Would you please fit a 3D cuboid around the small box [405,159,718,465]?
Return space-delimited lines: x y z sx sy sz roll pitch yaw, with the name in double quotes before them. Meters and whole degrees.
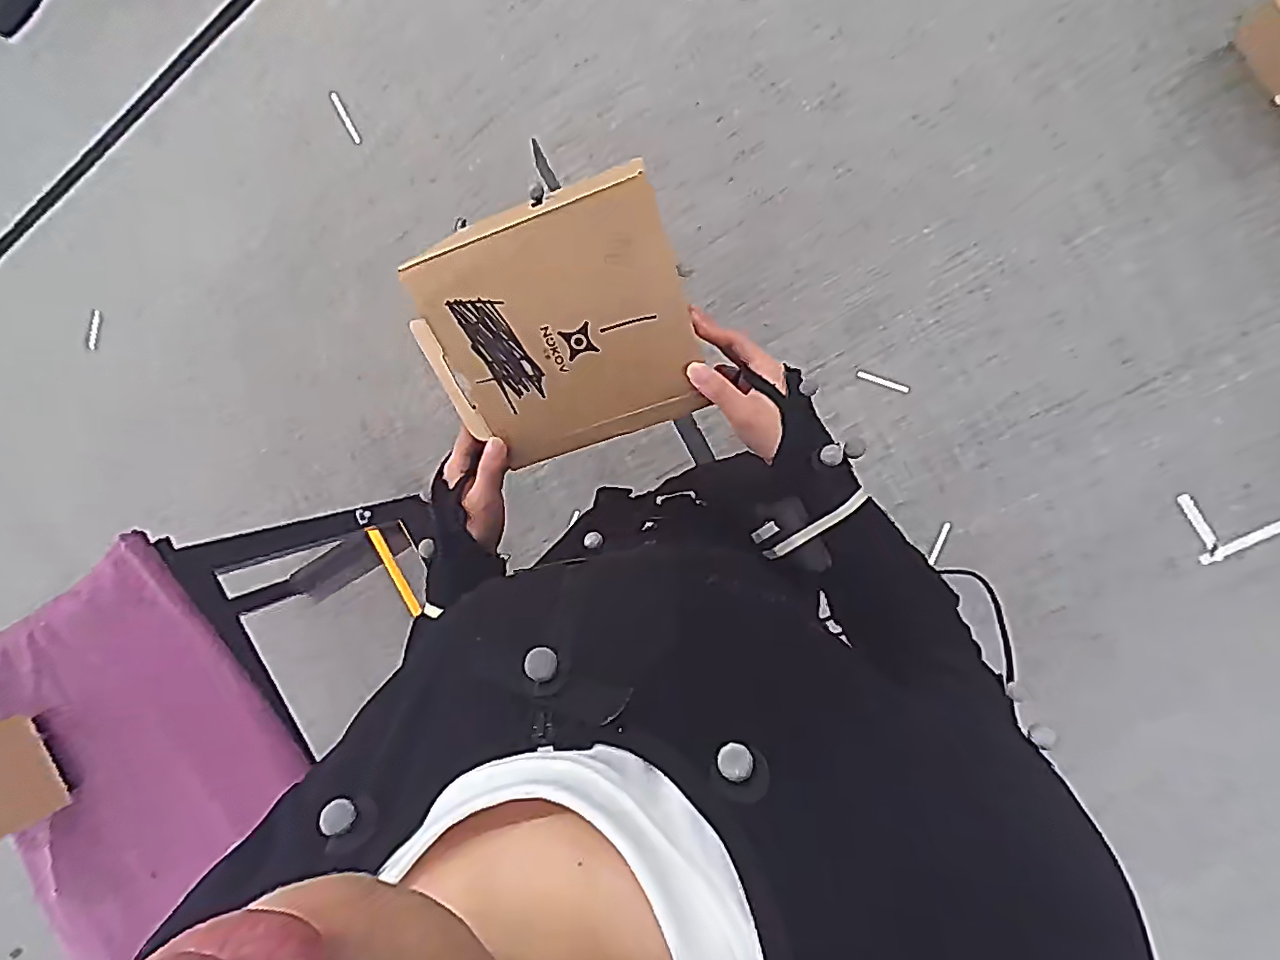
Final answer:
"small box" -0.048 -0.142 0.441 0.179 0.176 0.168 -17 122 9
